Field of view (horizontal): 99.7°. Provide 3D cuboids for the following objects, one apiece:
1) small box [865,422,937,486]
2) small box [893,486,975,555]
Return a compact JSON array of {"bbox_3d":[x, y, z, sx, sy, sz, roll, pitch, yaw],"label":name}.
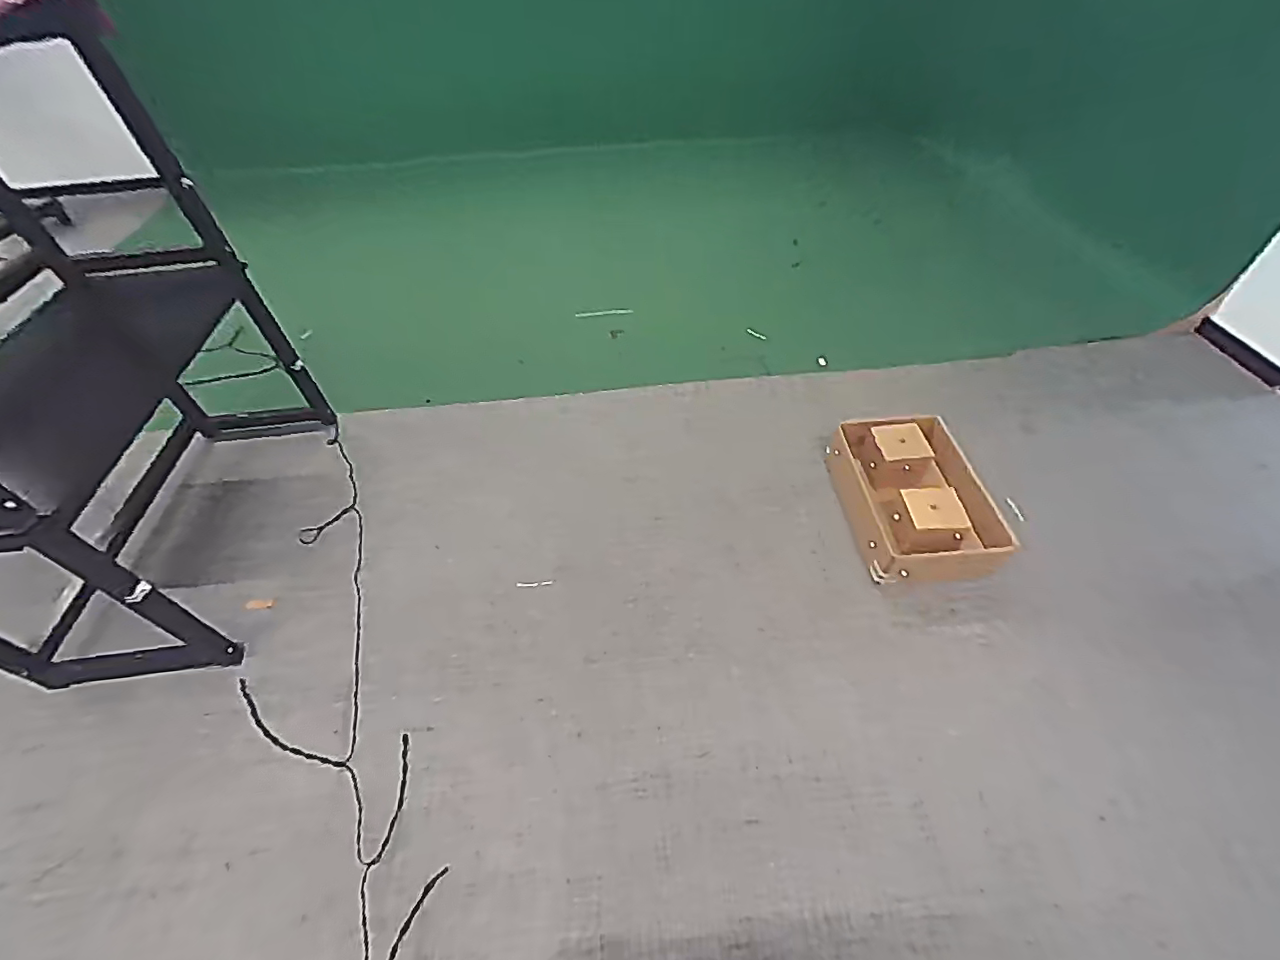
[{"bbox_3d":[0.944,-0.091,1.979,0.179,0.176,0.168,-5,50,-1],"label":"small box"},{"bbox_3d":[0.956,0.136,1.783,0.179,0.176,0.168,-2,49,2],"label":"small box"}]
